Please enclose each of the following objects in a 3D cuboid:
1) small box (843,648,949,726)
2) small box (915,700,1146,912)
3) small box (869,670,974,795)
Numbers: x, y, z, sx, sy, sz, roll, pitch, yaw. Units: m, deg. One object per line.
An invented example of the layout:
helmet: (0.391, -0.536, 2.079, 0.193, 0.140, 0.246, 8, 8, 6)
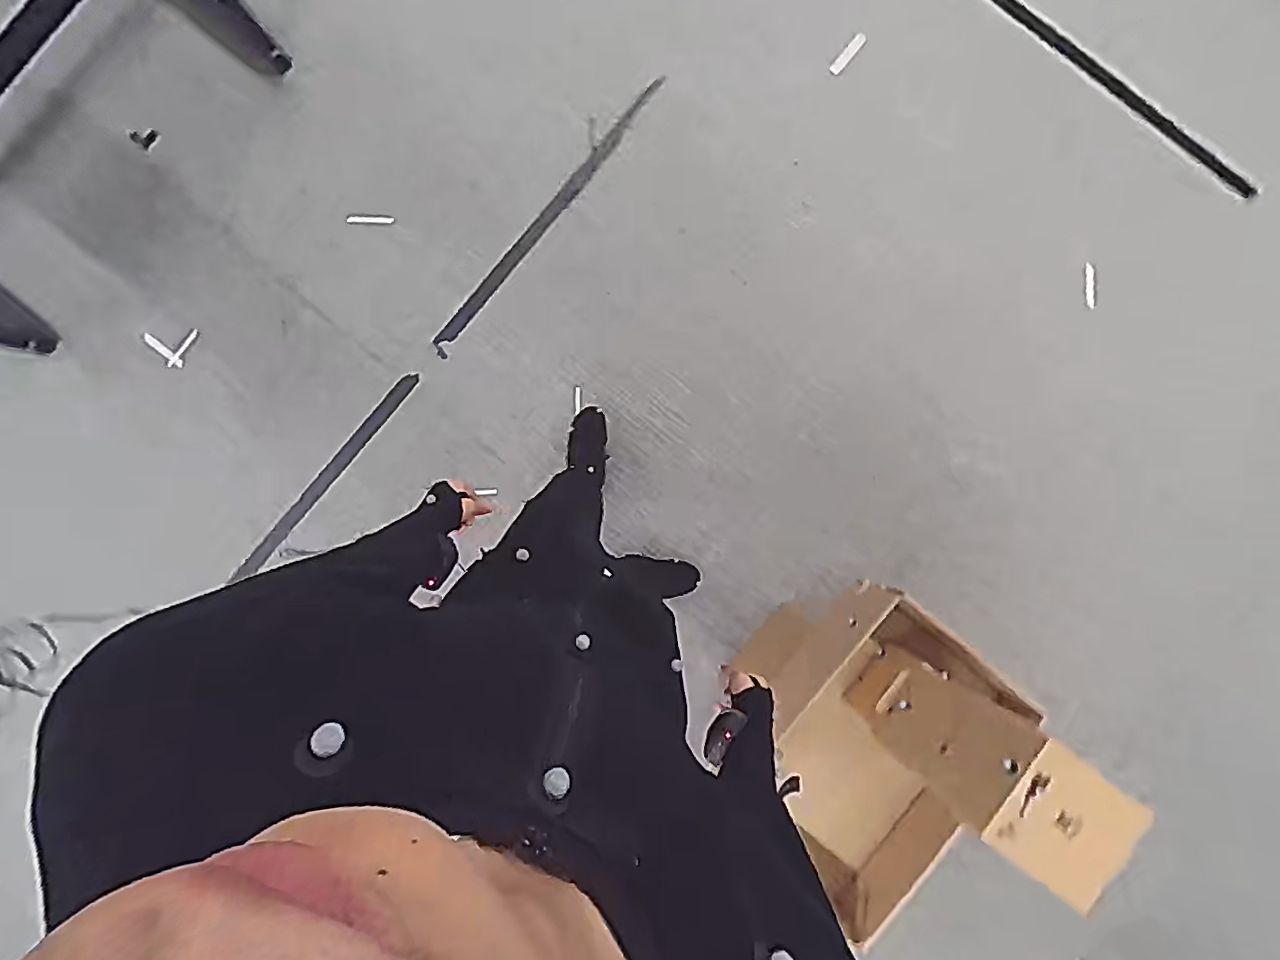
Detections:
small box: (0.561, 0.474, 1.129, 0.179, 0.176, 0.168, 39, 89, 0)
small box: (0.559, 0.463, 0.800, 0.179, 0.176, 0.168, 38, 88, 0)
small box: (0.554, 0.472, 0.964, 0.179, 0.176, 0.168, 38, 88, 1)
